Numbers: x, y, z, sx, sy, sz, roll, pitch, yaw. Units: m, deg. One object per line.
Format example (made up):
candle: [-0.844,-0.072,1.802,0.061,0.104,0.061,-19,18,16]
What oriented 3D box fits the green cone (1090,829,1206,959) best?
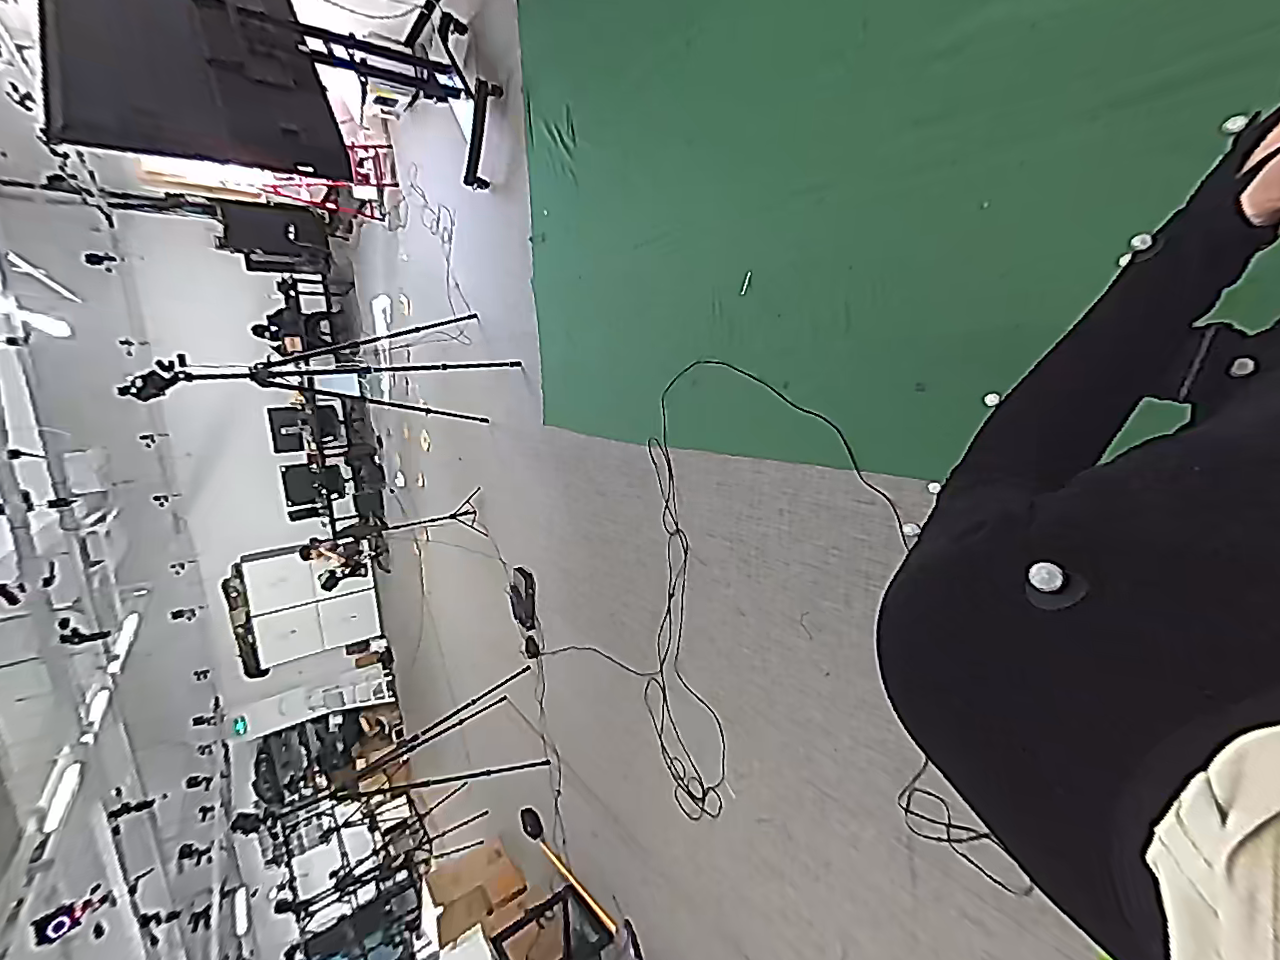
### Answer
green cone: [1.126,1.034,1.252,0.202,0.368,0.200,14,110,52]
